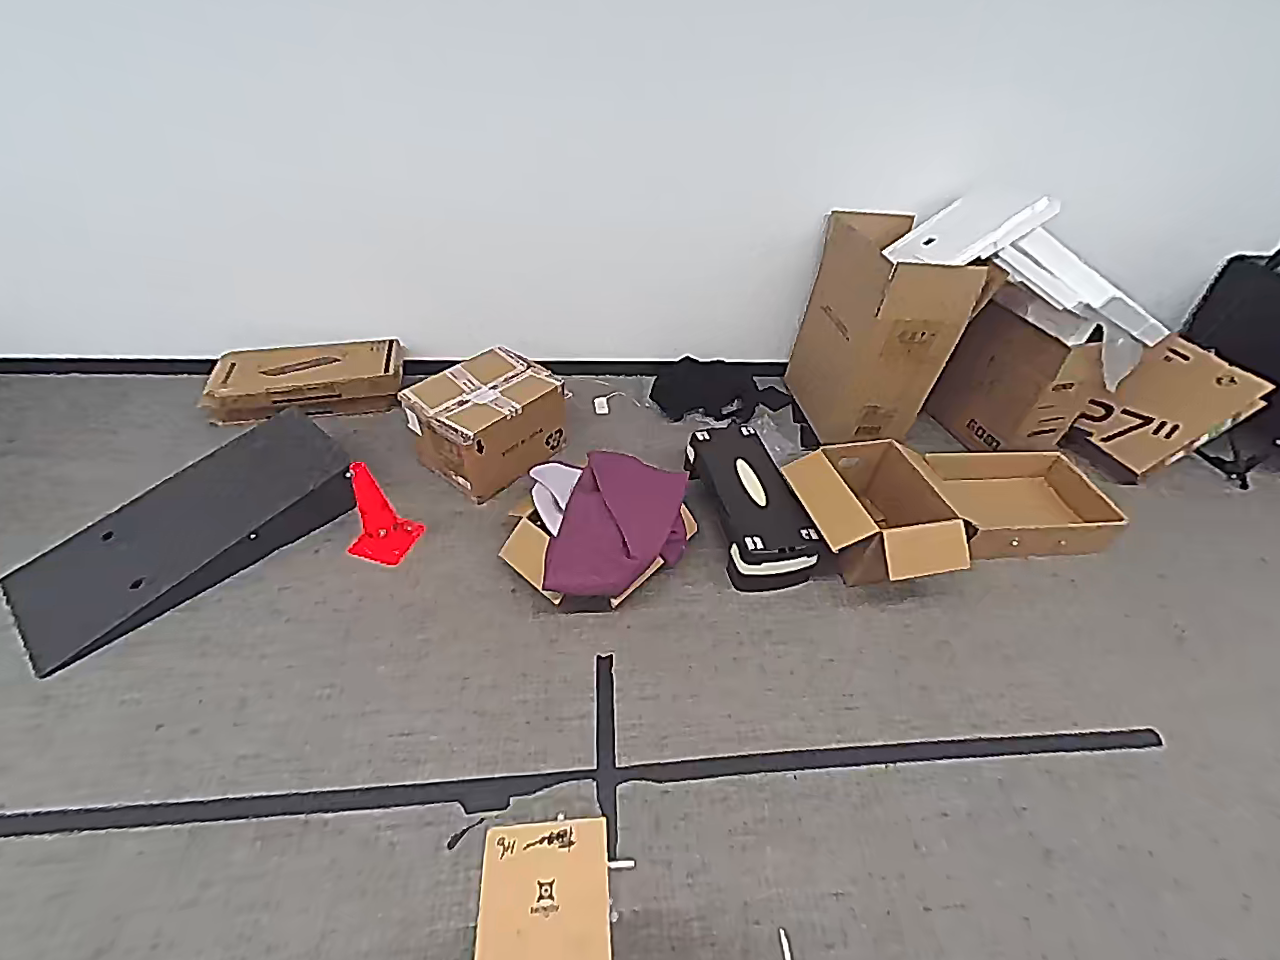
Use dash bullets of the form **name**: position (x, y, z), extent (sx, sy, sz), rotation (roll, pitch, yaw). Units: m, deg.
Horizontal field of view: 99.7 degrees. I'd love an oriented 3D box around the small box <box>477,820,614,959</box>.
- **small box**: position (-0.120, 0.593, 0.741), extent (0.168, 0.176, 0.179), rotation (-1, 44, -6)
